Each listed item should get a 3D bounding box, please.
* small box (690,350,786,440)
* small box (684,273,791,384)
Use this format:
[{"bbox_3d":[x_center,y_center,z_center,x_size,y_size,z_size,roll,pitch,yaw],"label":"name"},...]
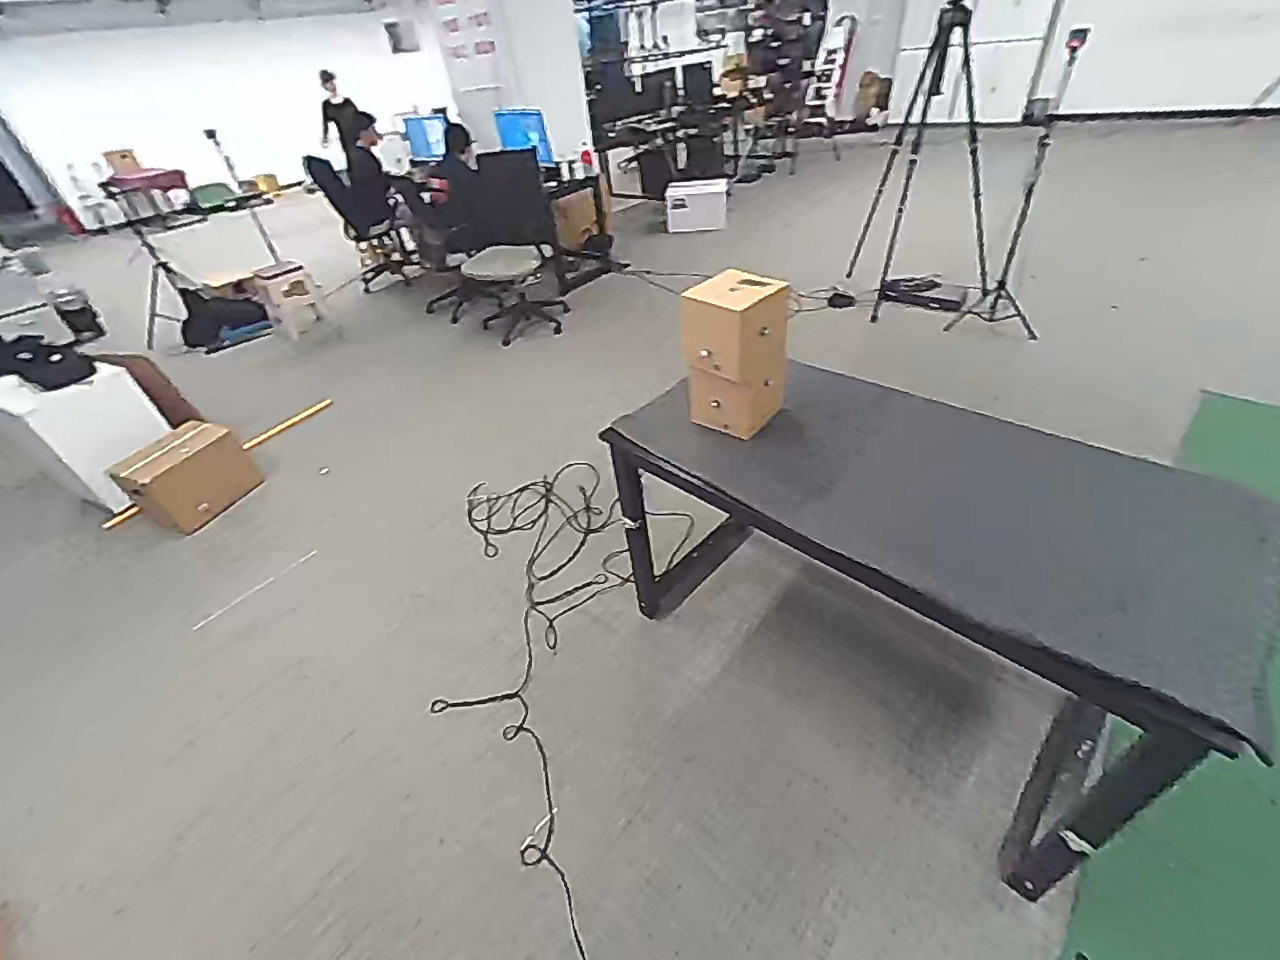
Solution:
[{"bbox_3d":[0.241,-0.223,1.328,0.168,0.176,0.179,24,48,32],"label":"small box"},{"bbox_3d":[0.215,-0.342,1.215,0.179,0.176,0.168,-35,47,-29],"label":"small box"}]
